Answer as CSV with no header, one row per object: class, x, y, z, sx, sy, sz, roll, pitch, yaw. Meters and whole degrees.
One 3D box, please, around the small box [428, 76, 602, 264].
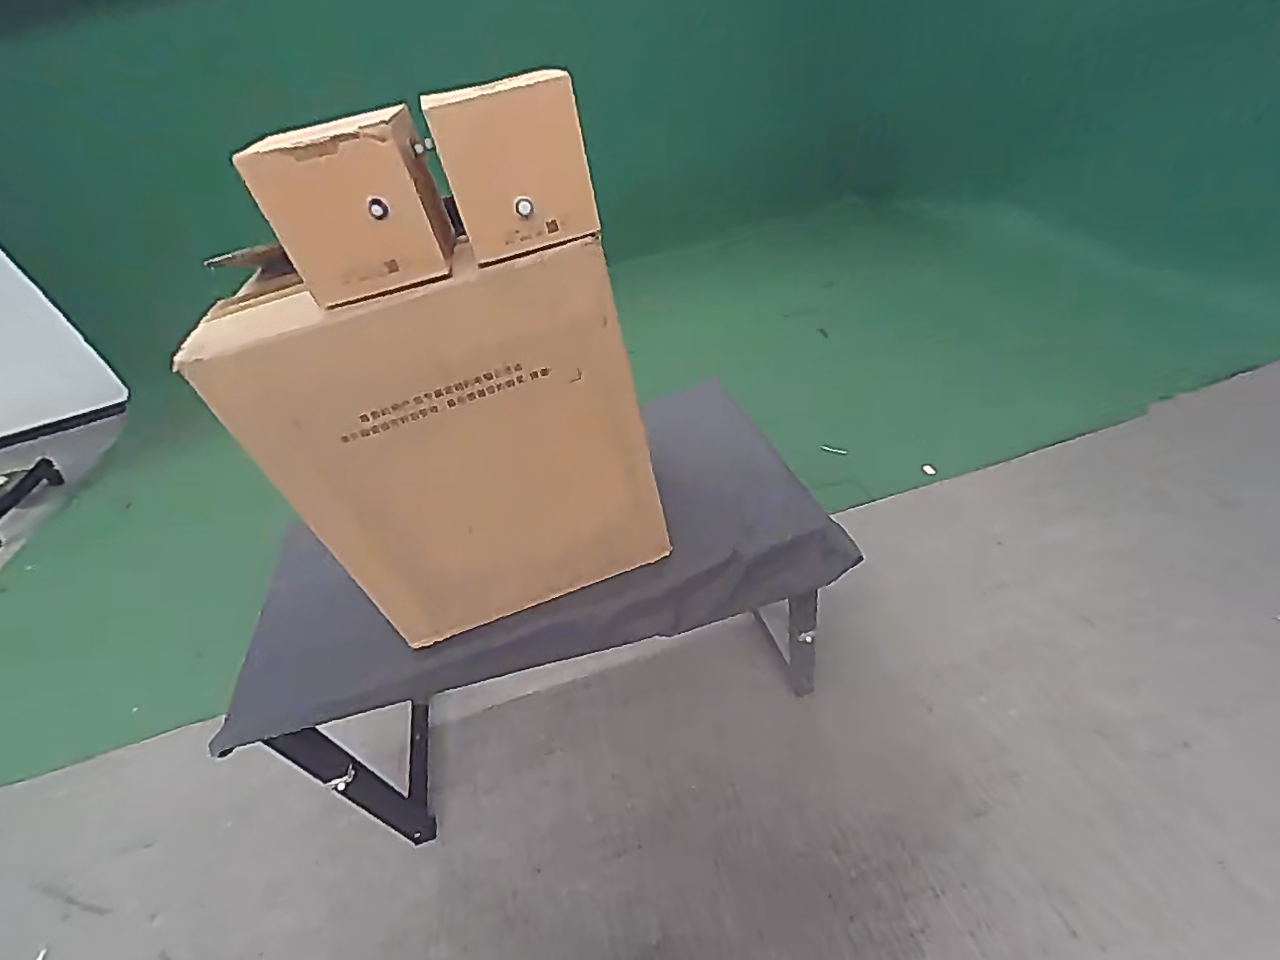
small box,-0.159,-0.400,0.699,0.168,0.176,0.179,-19,42,-7
